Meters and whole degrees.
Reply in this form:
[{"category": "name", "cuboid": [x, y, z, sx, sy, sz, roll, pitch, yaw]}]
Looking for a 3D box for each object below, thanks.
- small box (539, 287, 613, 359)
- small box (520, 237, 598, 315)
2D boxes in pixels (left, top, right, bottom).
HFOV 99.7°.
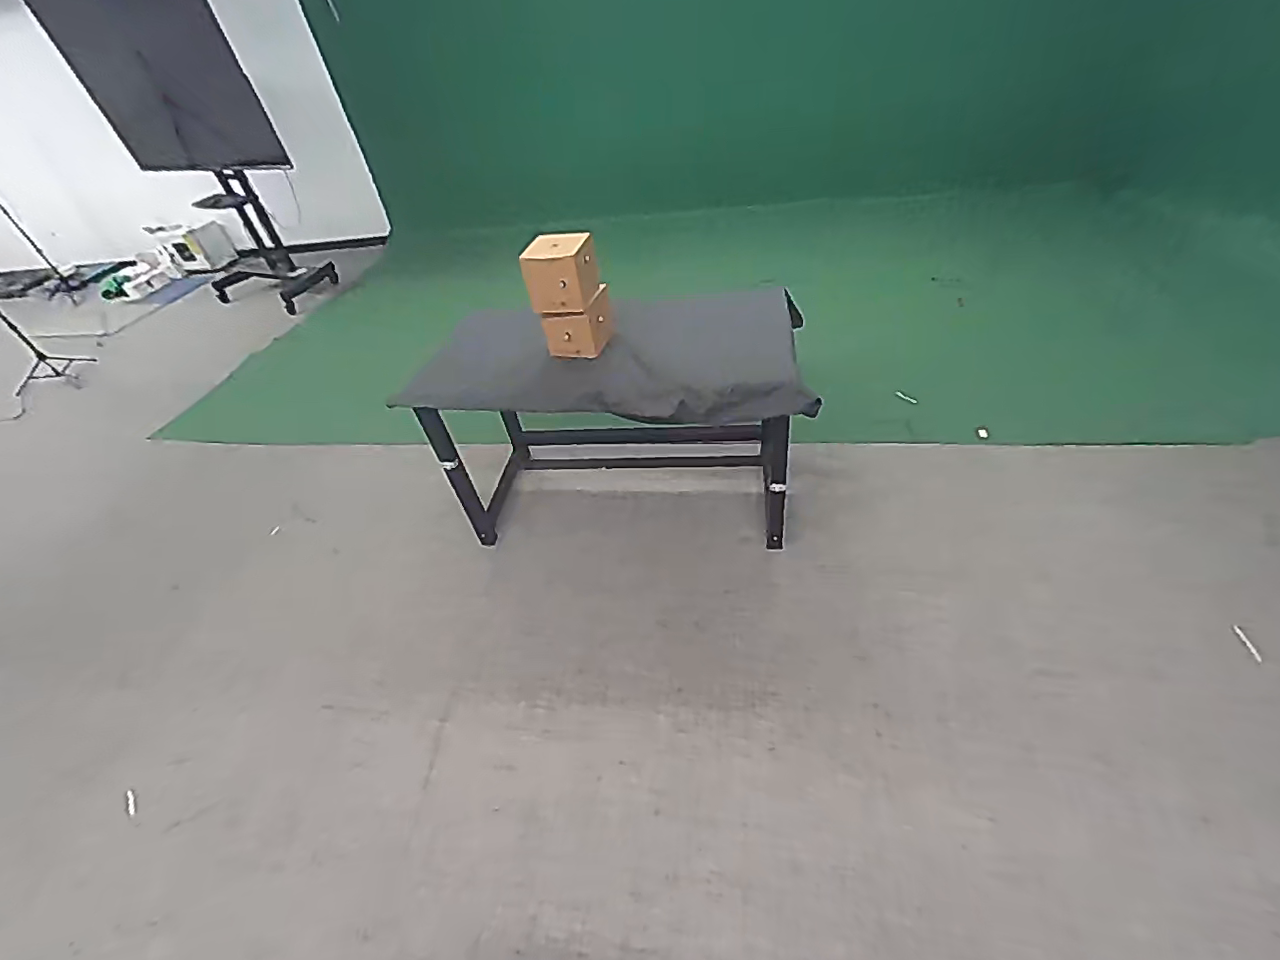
[{"category": "small box", "cuboid": [-0.197, -0.503, 1.738, 0.168, 0.176, 0.179, 7, 45, 18]}, {"category": "small box", "cuboid": [-0.232, -0.607, 1.615, 0.168, 0.176, 0.179, 4, 43, 13]}]
